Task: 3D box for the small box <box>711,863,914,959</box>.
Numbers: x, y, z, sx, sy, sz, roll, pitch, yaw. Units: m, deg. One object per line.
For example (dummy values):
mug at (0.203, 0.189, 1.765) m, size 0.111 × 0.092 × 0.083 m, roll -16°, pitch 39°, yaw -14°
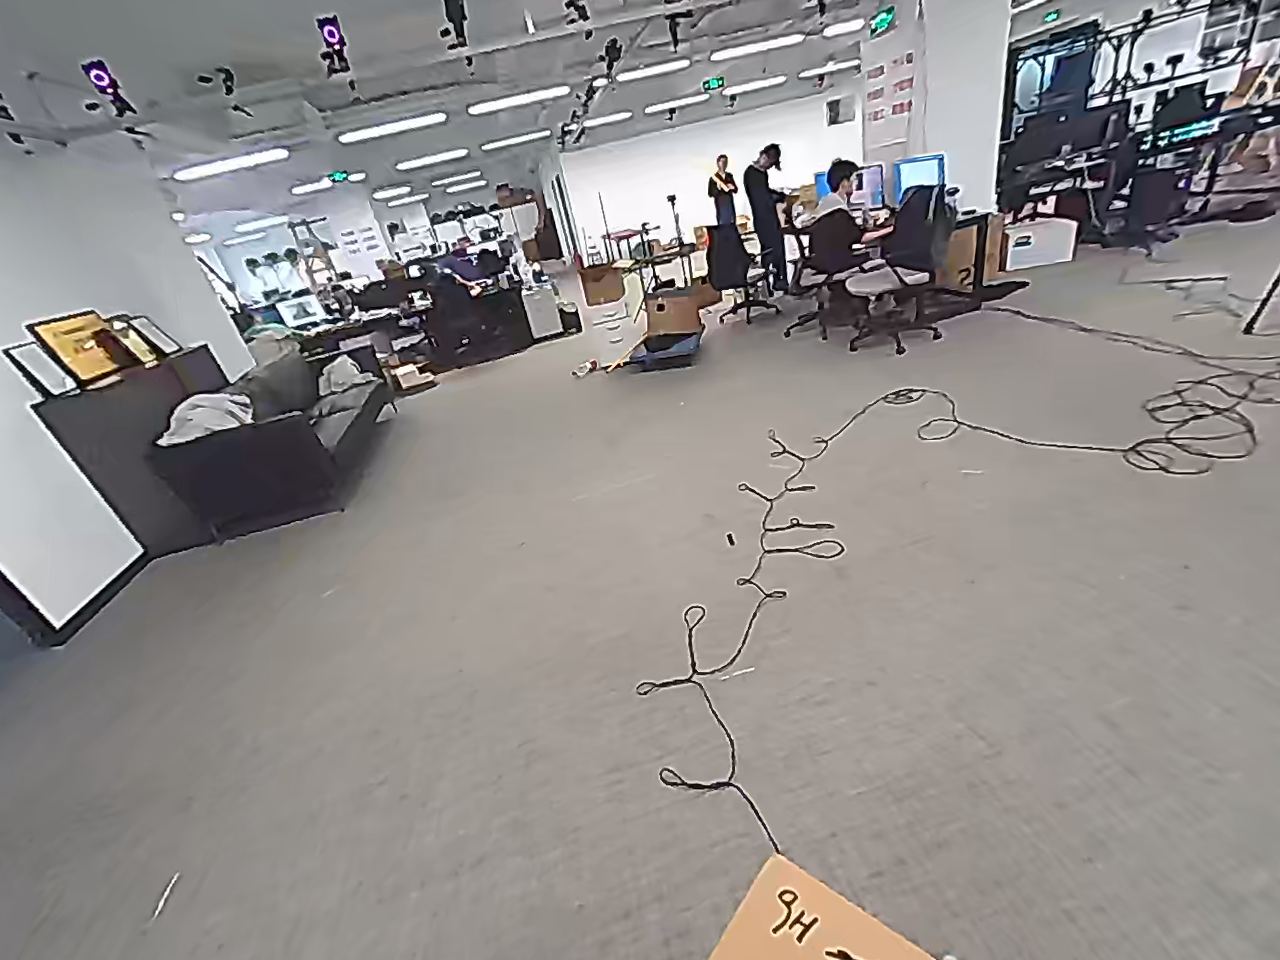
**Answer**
small box at (0.109, 0.367, 0.278) m, size 0.168 × 0.176 × 0.179 m, roll 9°, pitch 37°, yaw 44°
